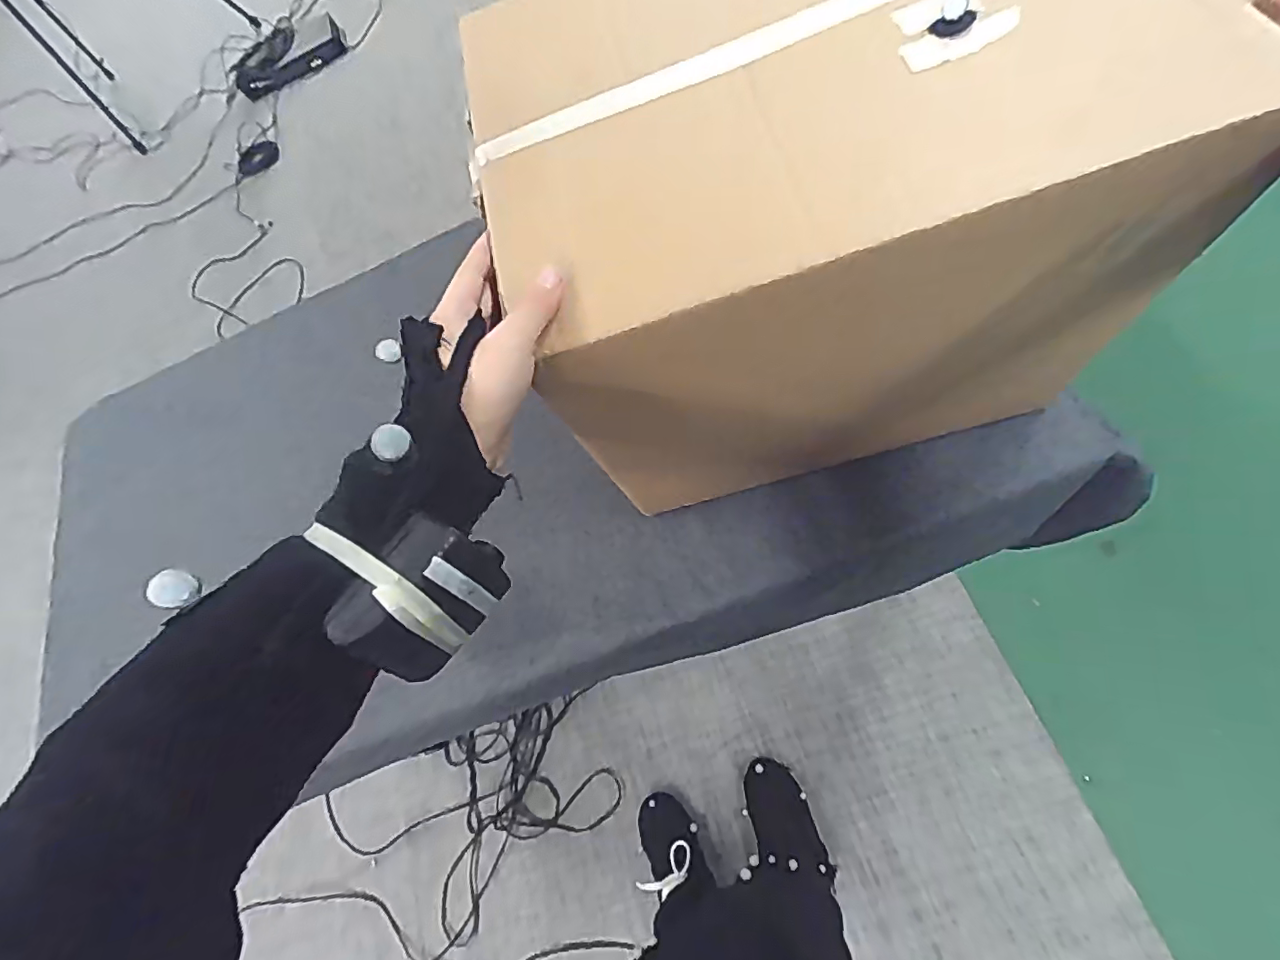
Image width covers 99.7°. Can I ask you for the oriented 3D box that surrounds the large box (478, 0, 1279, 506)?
[{"bbox_3d":[0.130,-0.210,0.456,0.408,0.320,0.320,-16,69,7],"label":"large box"}]
